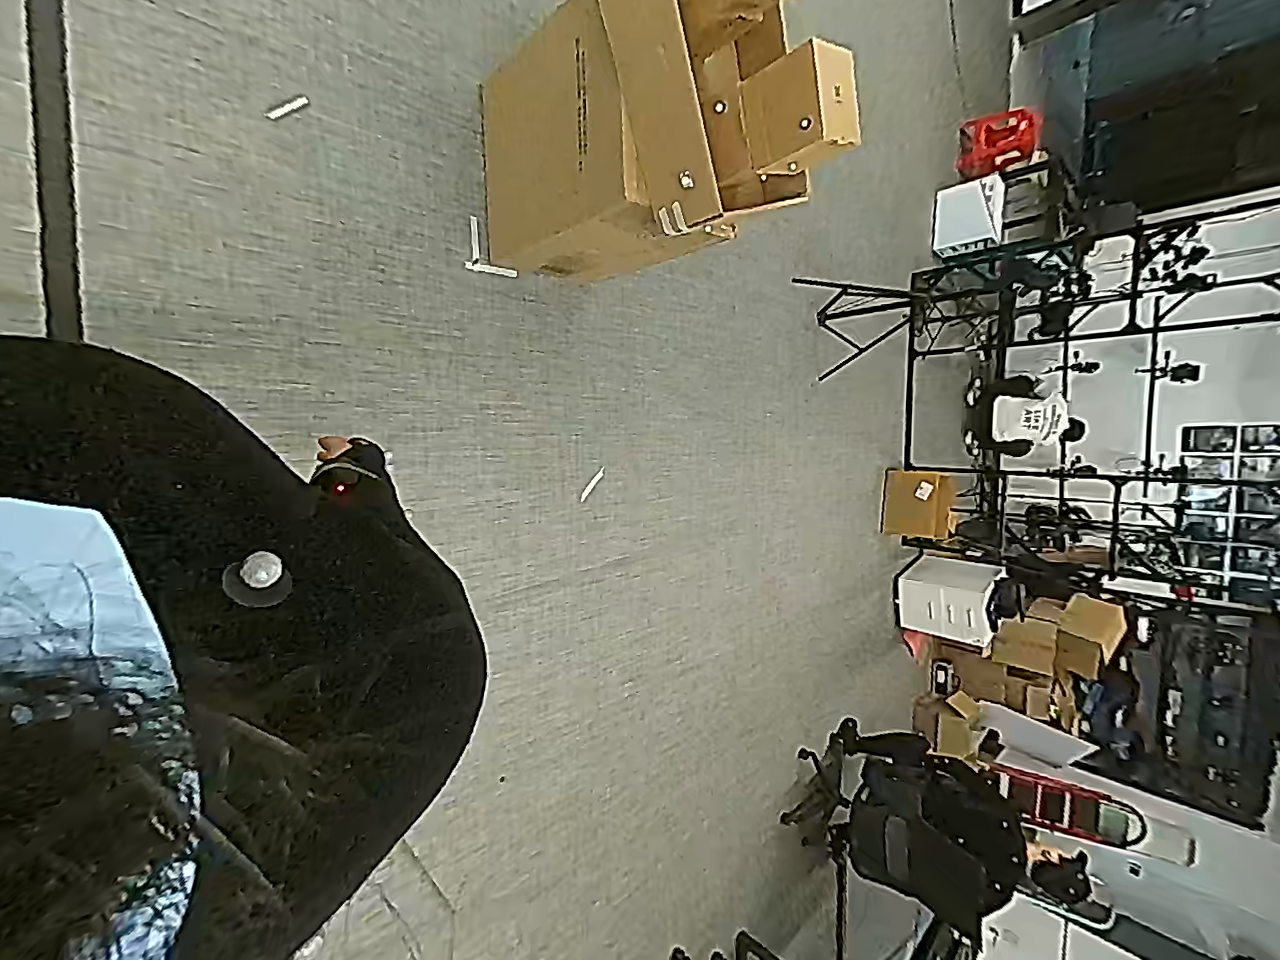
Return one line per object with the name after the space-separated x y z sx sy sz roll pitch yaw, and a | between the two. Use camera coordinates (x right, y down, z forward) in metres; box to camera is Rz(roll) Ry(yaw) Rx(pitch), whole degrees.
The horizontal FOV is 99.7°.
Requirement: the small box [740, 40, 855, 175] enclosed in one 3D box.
0.330 -0.772 1.142 0.168 0.176 0.179 -26 110 -39 | small box

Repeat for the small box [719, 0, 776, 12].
0.231 -1.036 1.028 0.168 0.176 0.179 -36 116 -36 | small box
